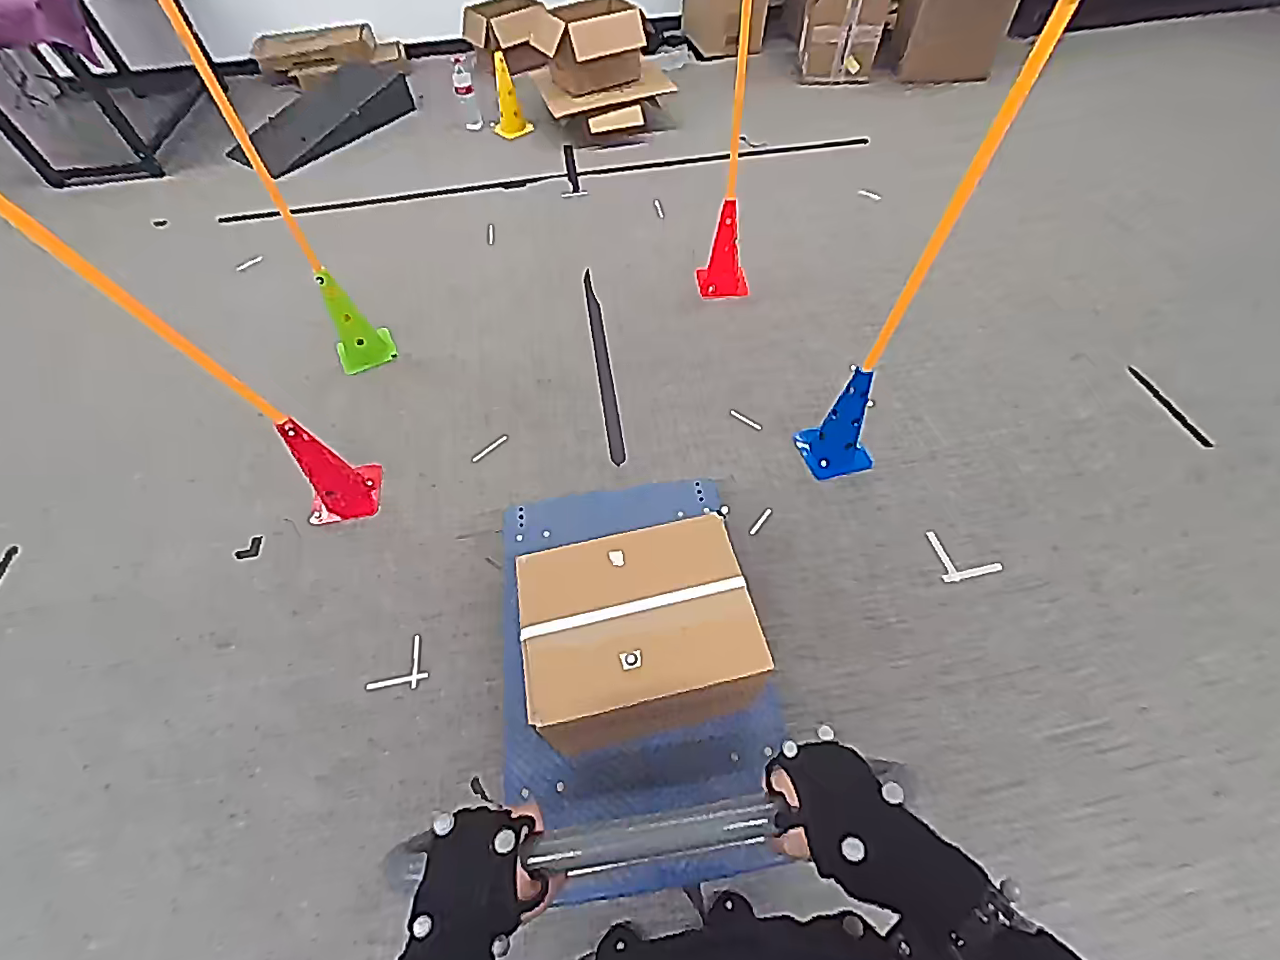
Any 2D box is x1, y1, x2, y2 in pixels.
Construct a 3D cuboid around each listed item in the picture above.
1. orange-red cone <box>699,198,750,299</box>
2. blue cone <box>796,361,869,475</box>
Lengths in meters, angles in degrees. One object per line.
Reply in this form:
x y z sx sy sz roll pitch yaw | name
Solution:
0.343 -0.914 2.101 0.199 0.360 0.198 -3 56 -1 | orange-red cone
0.615 -0.194 1.613 0.193 0.380 0.192 -12 55 -6 | blue cone
